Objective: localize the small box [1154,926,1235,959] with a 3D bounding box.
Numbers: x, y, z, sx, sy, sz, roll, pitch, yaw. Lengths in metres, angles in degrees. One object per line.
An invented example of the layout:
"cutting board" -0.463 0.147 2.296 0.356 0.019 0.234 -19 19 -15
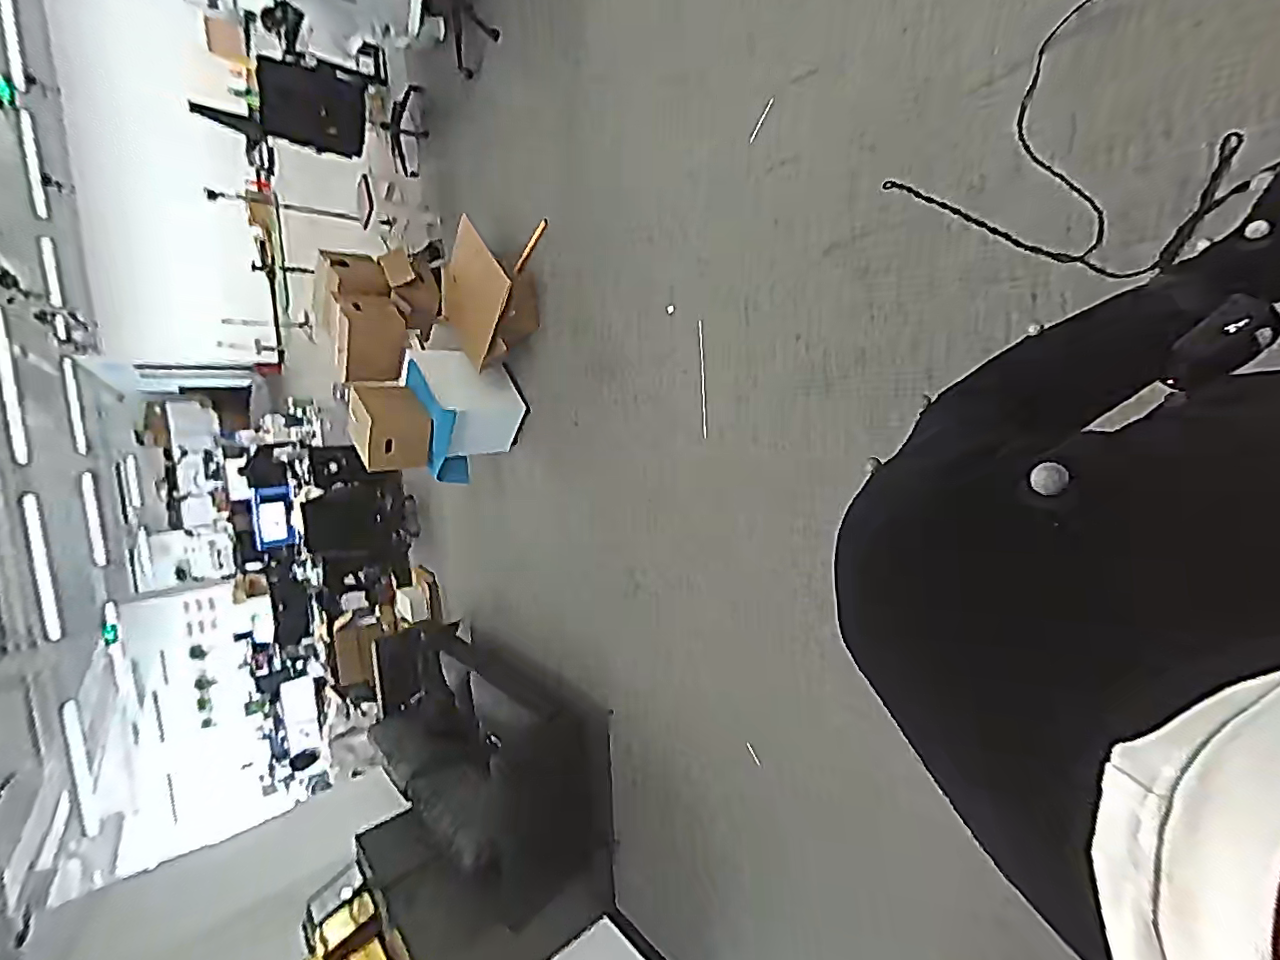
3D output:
"small box" 0.960 0.920 0.902 0.168 0.176 0.179 10 103 48

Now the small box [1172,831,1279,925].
"small box" 1.210 0.877 1.111 0.168 0.176 0.179 10 104 48

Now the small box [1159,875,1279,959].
"small box" 1.085 0.899 1.007 0.168 0.176 0.179 11 105 48
